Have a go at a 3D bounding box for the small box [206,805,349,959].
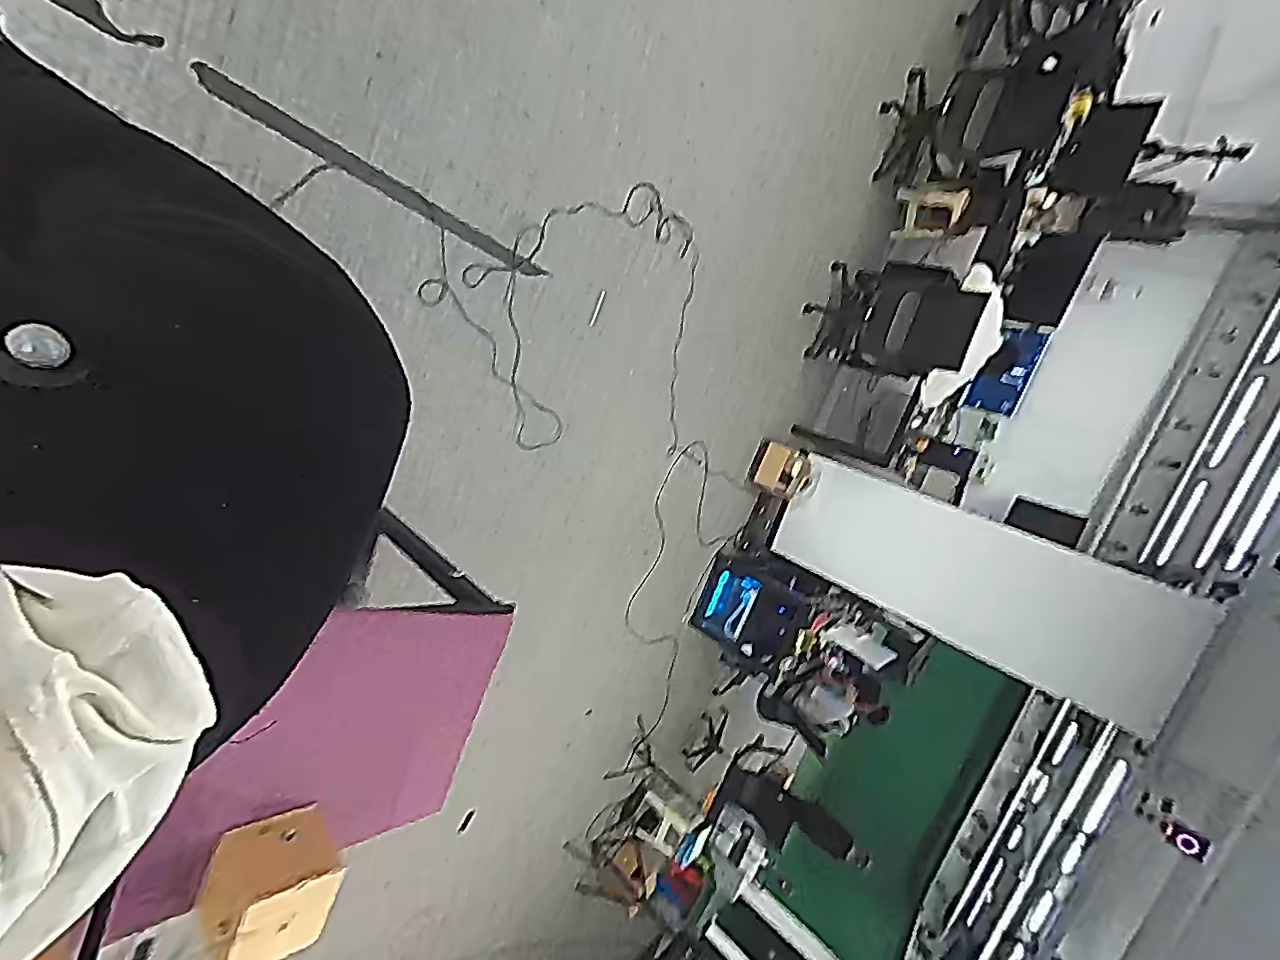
[{"bbox_3d":[-0.698,0.775,1.034,0.168,0.176,0.179,15,99,-53],"label":"small box"}]
